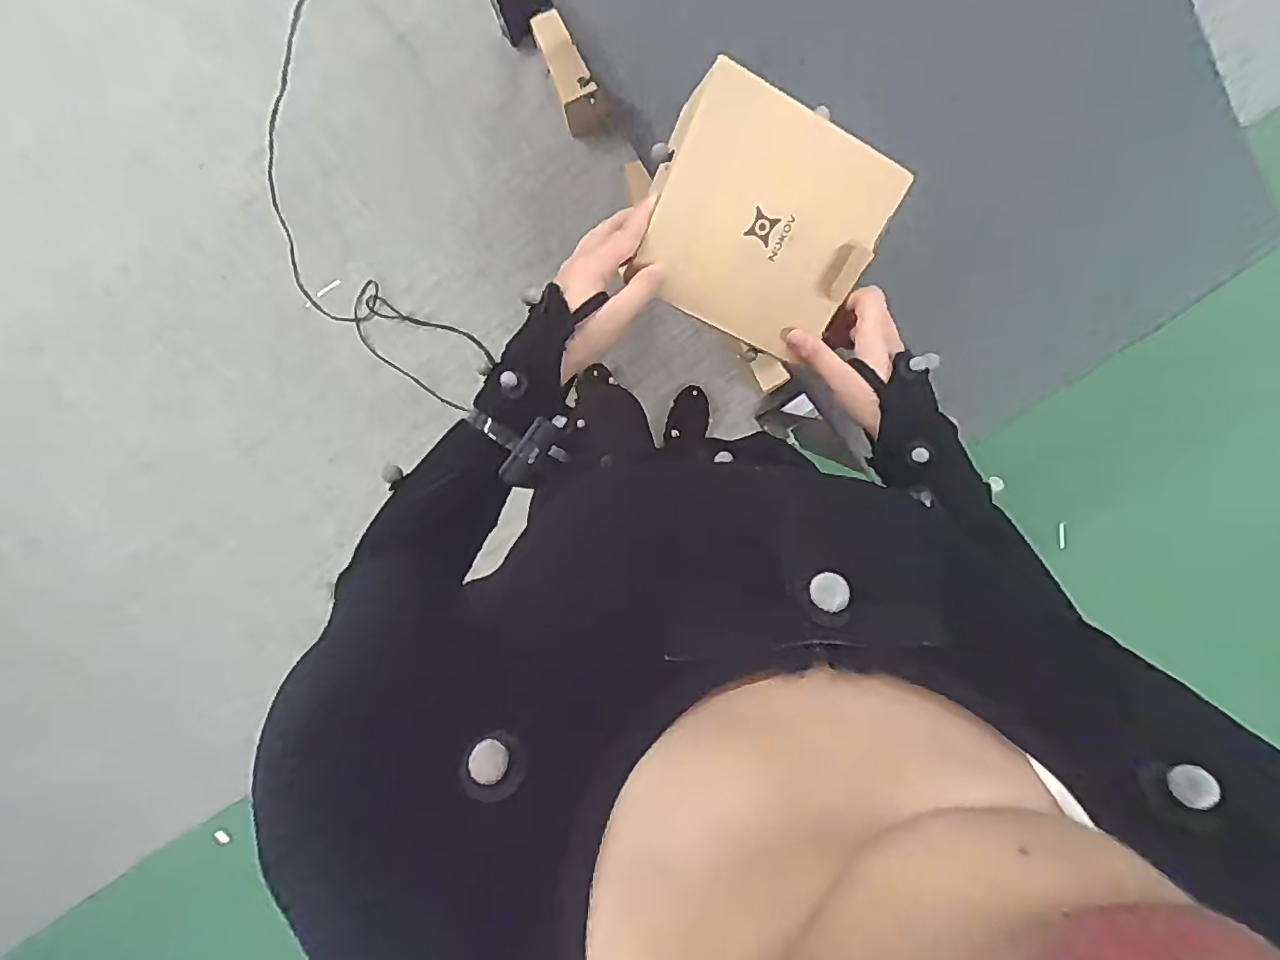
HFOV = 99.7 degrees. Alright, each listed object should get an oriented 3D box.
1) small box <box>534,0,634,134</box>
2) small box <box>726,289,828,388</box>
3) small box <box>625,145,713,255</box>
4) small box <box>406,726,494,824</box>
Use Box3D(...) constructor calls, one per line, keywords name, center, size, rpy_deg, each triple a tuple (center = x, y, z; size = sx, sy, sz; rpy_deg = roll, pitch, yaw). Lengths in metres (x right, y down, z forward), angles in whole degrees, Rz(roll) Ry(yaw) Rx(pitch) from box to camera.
Box3D(name="small box", center=(-0.120, -0.935, 1.222), size=(0.168, 0.176, 0.179), rpy_deg=(-22, 99, 4))
Box3D(name="small box", center=(0.328, -0.342, 1.337), size=(0.168, 0.176, 0.179), rpy_deg=(-29, 100, 6))
Box3D(name="small box", center=(0.067, -0.648, 1.278), size=(0.168, 0.176, 0.179), rpy_deg=(-15, 99, 2))
Box3D(name="small box", center=(-0.535, 0.843, 1.561), size=(0.179, 0.176, 0.168), rpy_deg=(-15, 100, 3))
